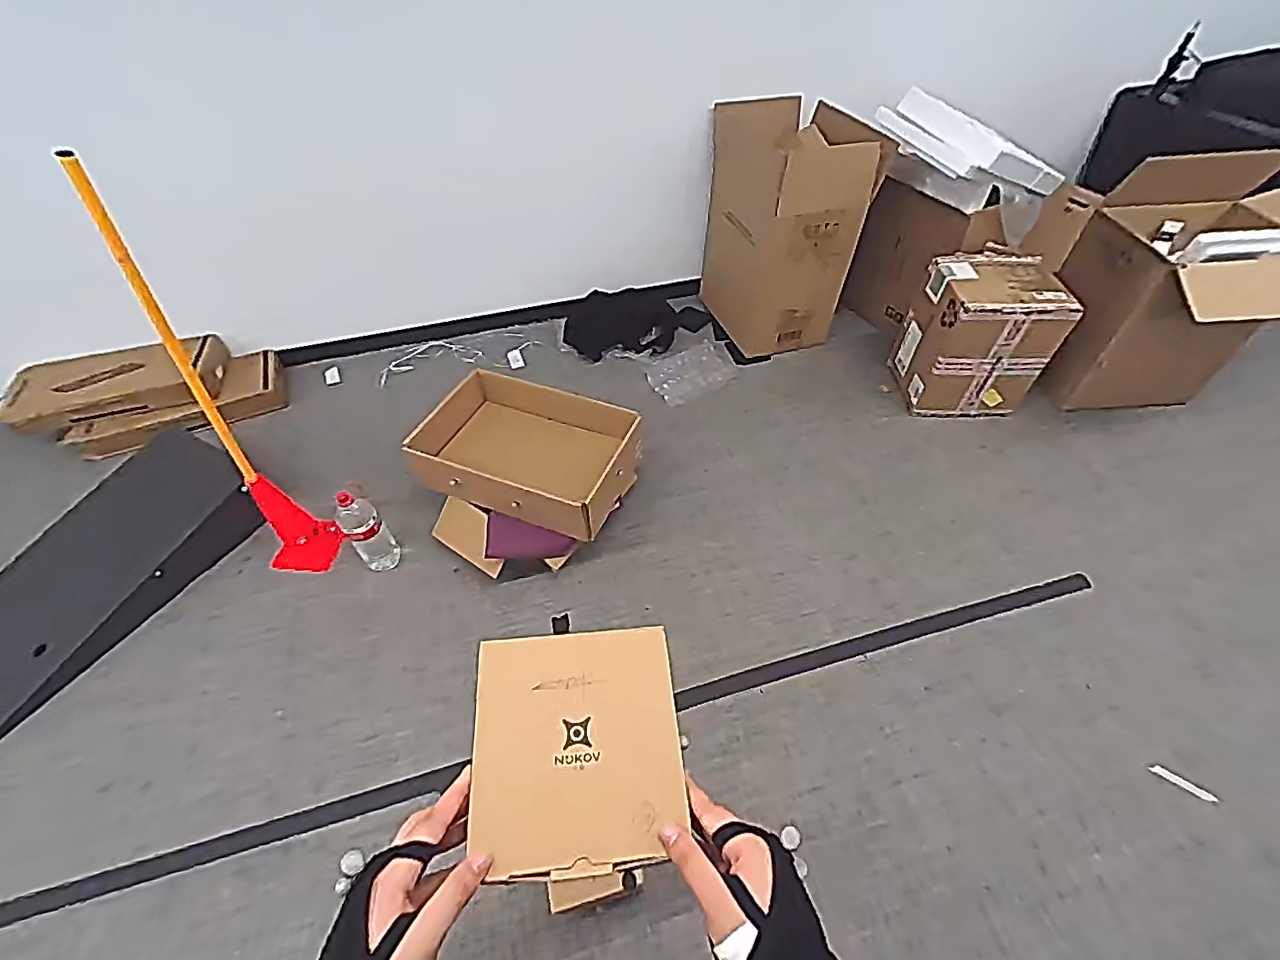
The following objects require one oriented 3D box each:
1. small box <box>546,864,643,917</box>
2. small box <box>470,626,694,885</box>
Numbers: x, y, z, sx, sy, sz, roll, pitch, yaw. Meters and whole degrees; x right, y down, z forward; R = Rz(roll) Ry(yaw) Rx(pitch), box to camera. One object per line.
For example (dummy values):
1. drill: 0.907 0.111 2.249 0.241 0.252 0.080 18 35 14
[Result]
1. small box: -0.094 0.710 1.042 0.168 0.176 0.179 -12 51 -9
2. small box: -0.052 0.255 0.500 0.168 0.176 0.179 -3 53 -7
